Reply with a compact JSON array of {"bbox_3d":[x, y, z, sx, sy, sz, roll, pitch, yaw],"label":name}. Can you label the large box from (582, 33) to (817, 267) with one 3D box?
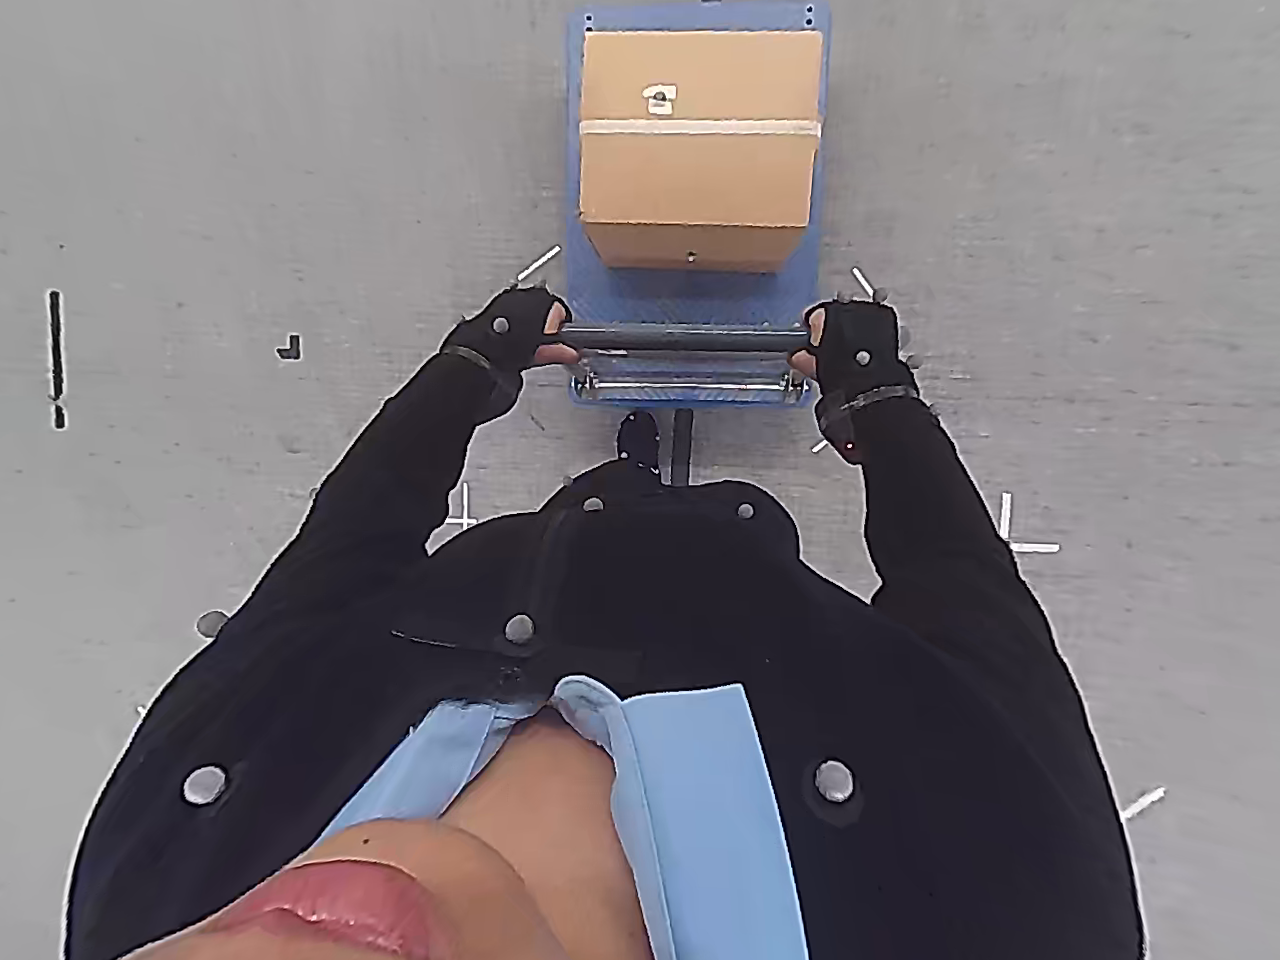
[{"bbox_3d":[0.112,-0.628,1.092,0.408,0.320,0.320,4,96,5],"label":"large box"}]
